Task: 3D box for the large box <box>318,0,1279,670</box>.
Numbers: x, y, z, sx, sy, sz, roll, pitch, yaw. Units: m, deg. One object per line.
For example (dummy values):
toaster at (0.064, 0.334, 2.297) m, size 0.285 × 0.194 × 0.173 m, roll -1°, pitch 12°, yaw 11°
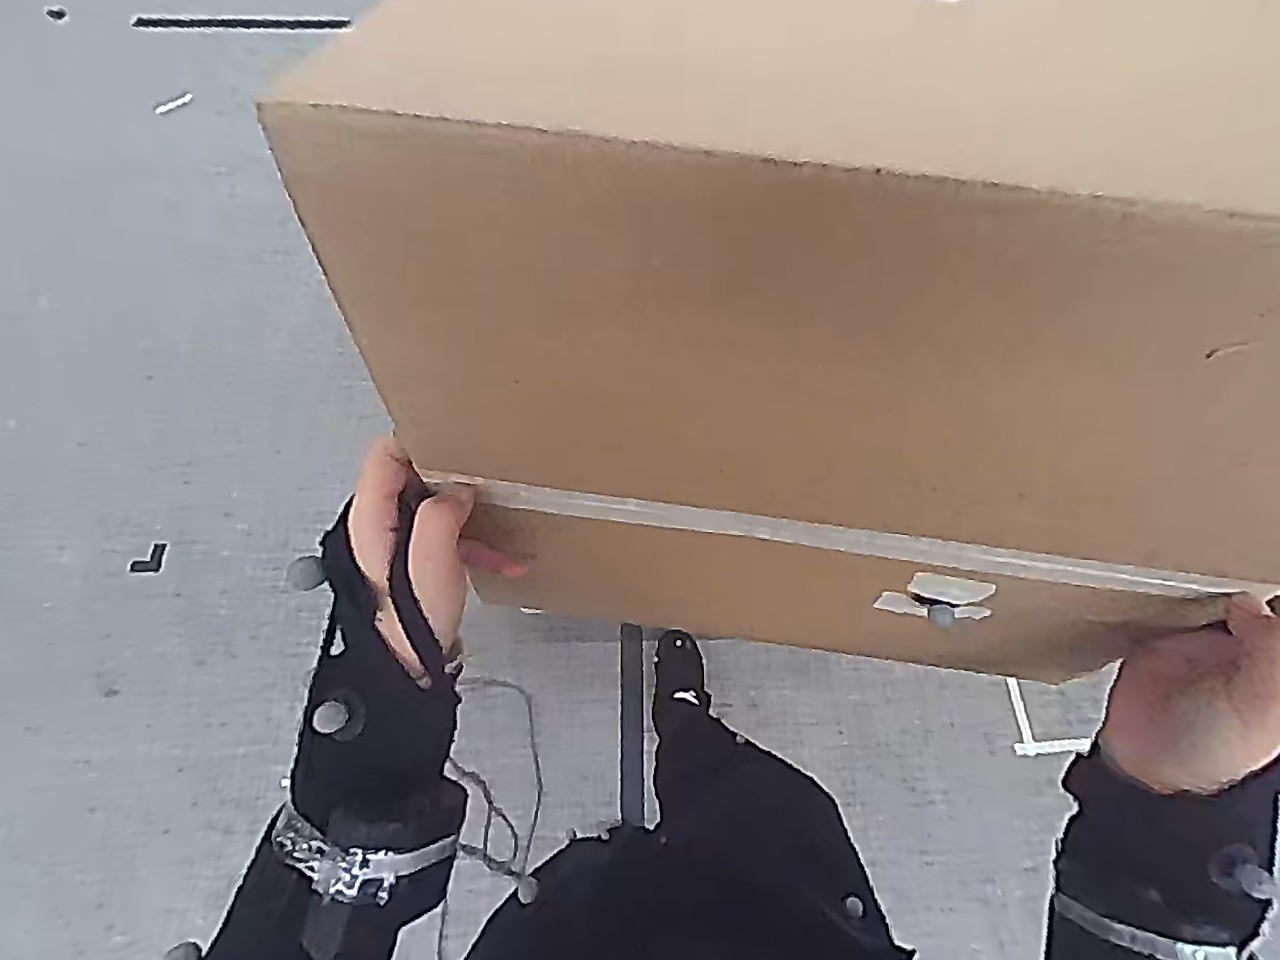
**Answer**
large box at (0.111, -0.098, 0.354) m, size 0.408 × 0.320 × 0.320 m, roll 7°, pitch 55°, yaw 1°
